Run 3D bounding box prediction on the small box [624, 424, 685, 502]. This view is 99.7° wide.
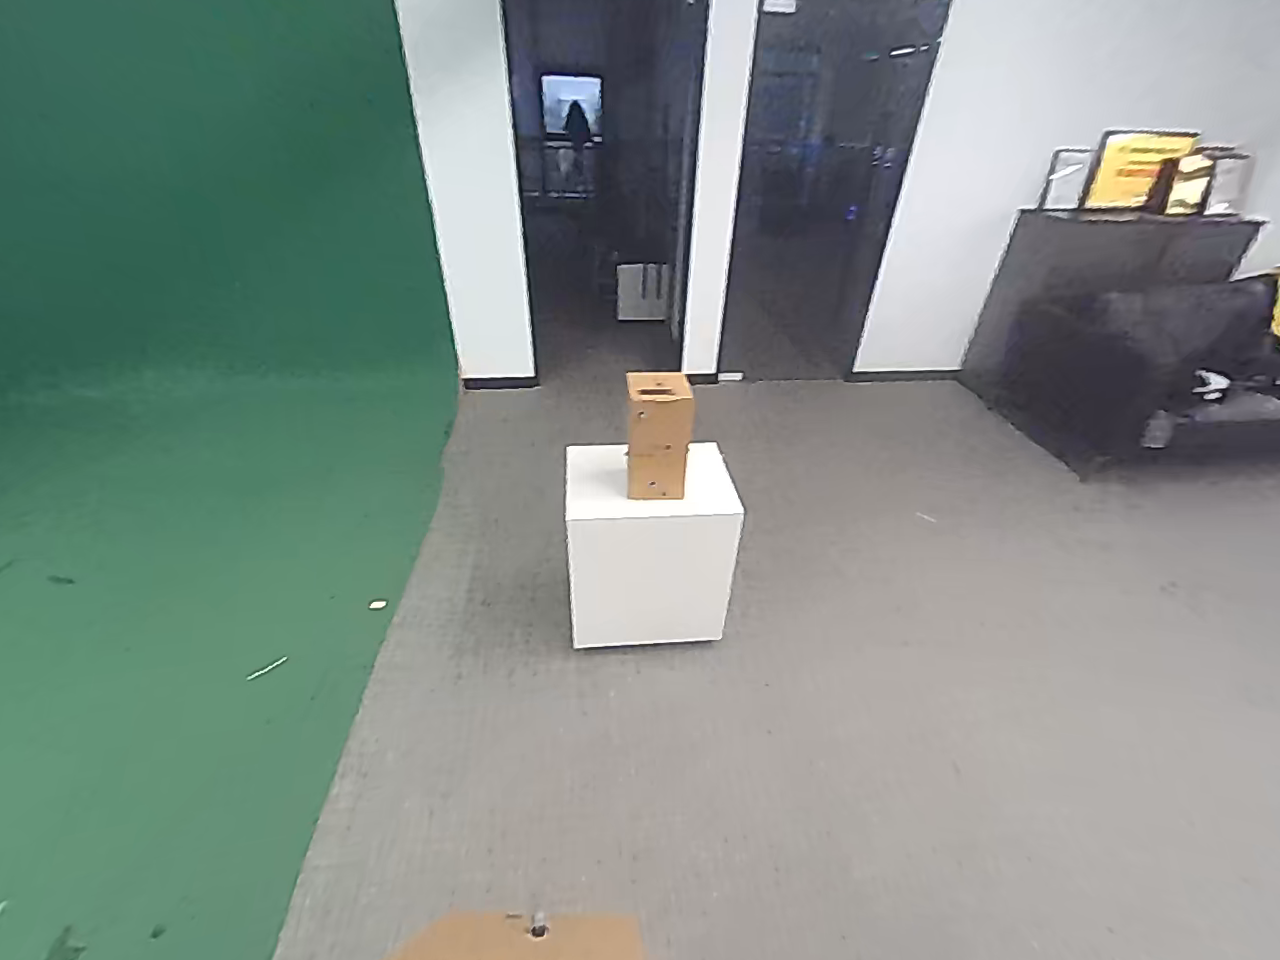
[{"bbox_3d":[0.037,-0.052,1.606,0.168,0.176,0.179,-1,33,-4],"label":"small box"}]
